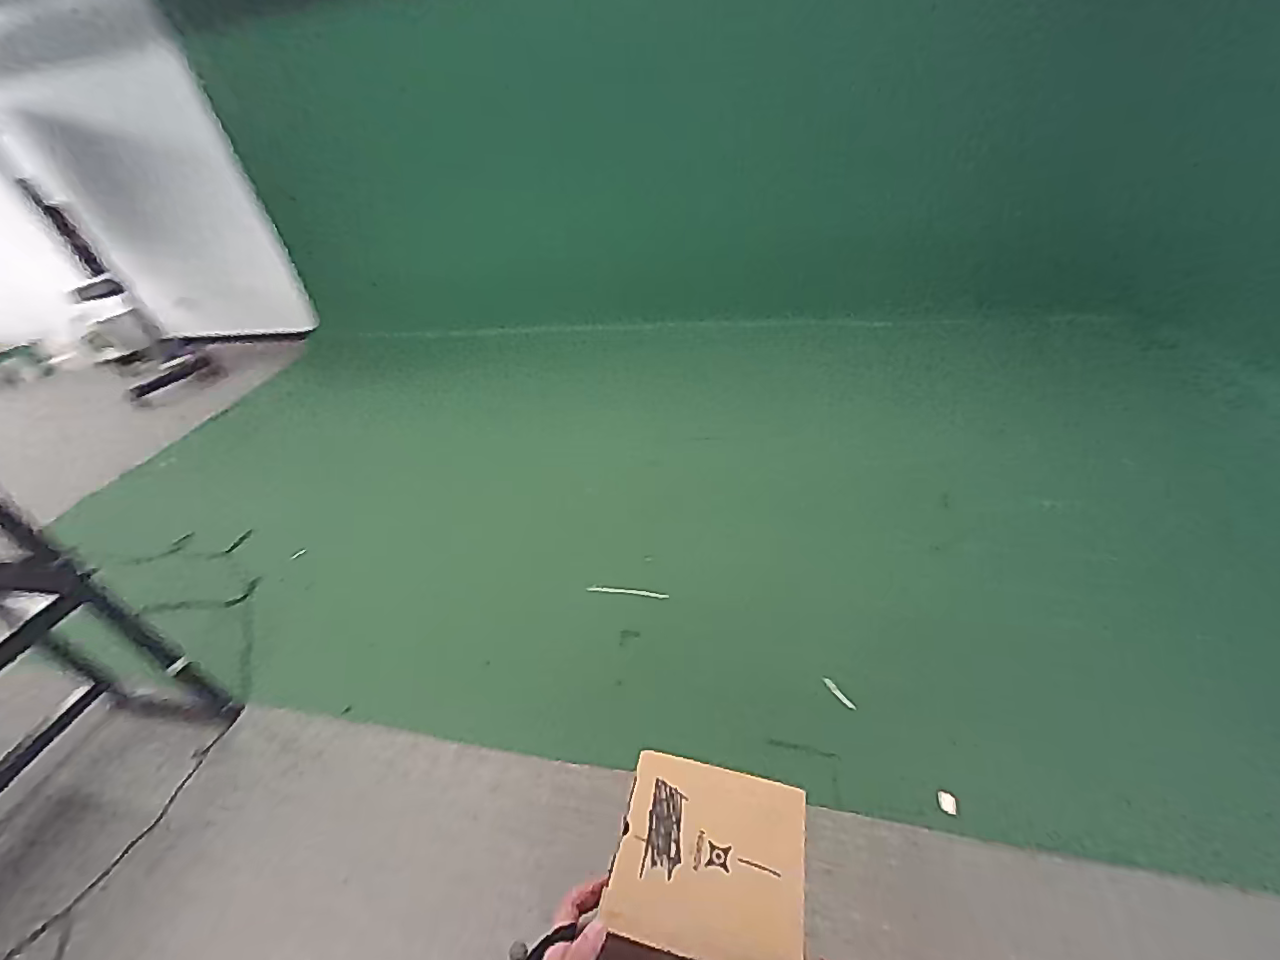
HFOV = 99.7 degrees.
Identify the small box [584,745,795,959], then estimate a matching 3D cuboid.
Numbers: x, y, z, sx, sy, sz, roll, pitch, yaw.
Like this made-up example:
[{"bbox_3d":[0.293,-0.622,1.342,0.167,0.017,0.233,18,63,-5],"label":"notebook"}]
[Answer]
[{"bbox_3d":[0.056,0.410,0.551,0.179,0.176,0.168,8,35,12],"label":"small box"}]
